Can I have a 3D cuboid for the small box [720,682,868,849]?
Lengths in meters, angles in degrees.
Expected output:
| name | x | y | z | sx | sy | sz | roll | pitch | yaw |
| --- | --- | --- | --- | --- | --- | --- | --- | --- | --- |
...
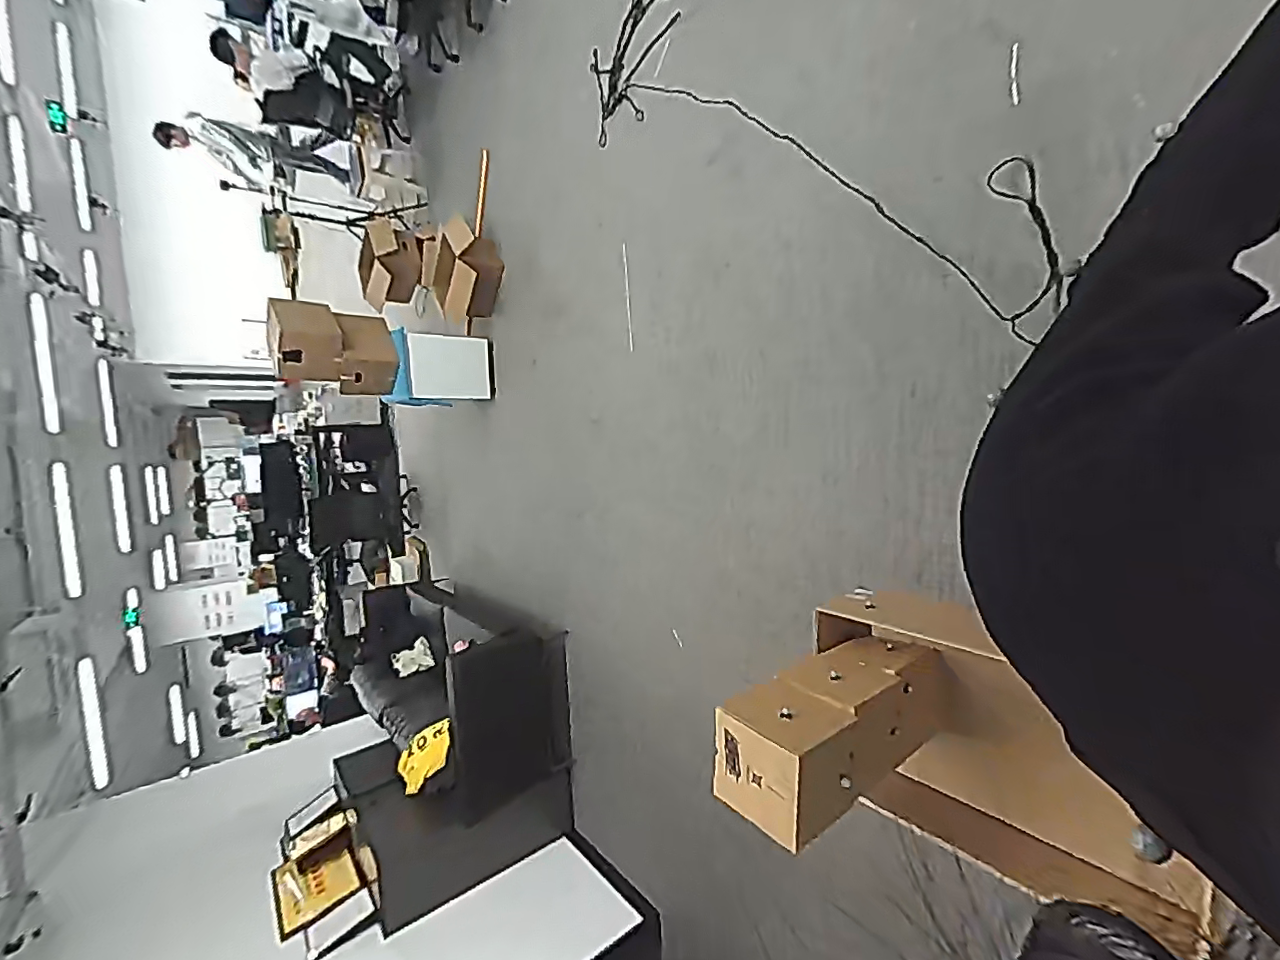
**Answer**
| name | x | y | z | sx | sy | sz | roll | pitch | yaw |
| --- | --- | --- | --- | --- | --- | --- | --- | --- | --- |
| small box | 0.260 | 0.468 | 0.925 | 0.179 | 0.176 | 0.168 | 10 | 103 | 51 |
